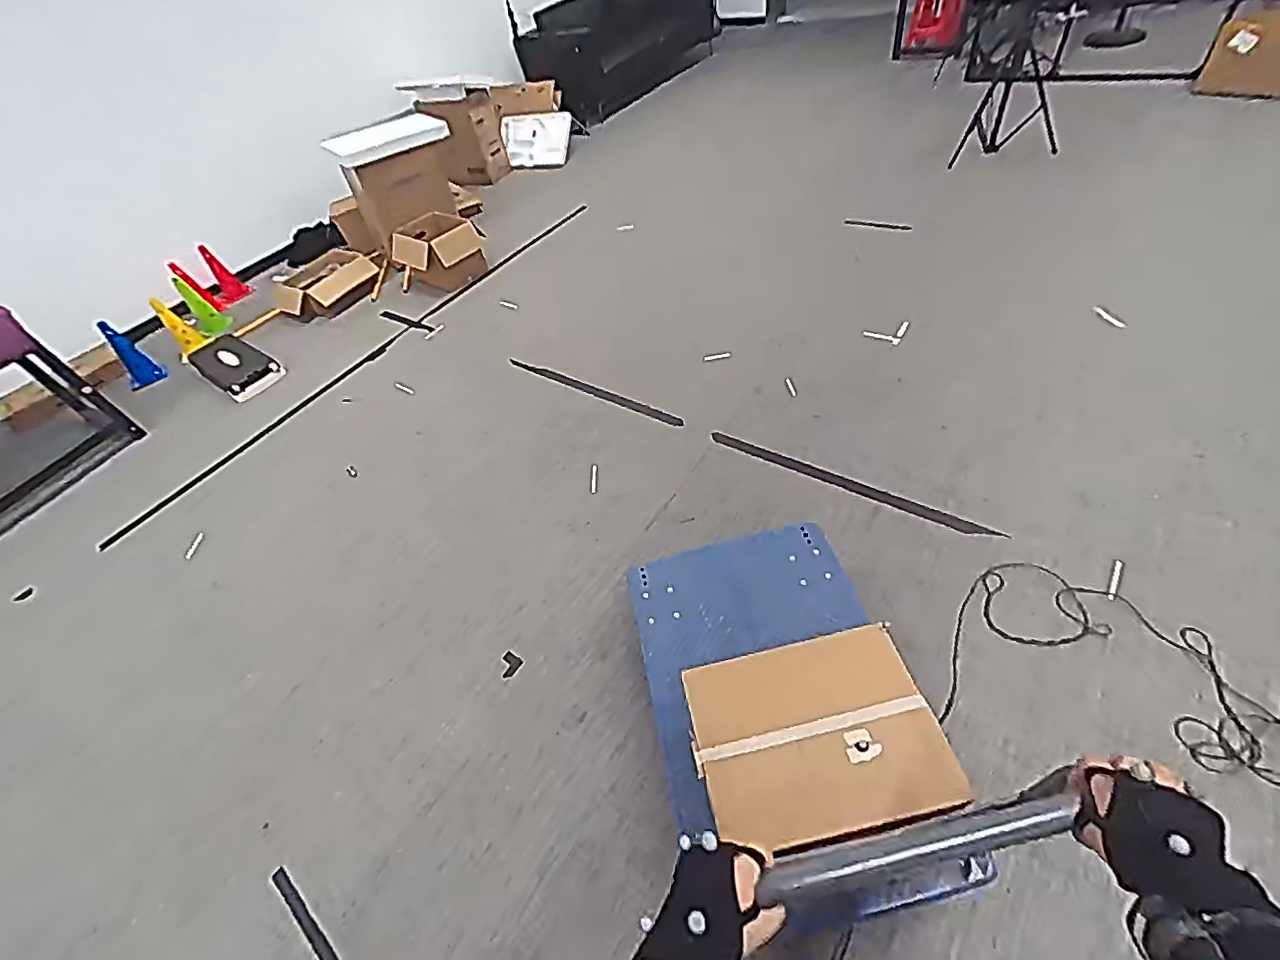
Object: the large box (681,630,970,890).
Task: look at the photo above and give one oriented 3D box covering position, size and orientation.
[{"bbox_3d":[0.318,0.544,1.046,0.408,0.320,0.320,-13,48,-1],"label":"large box"}]
